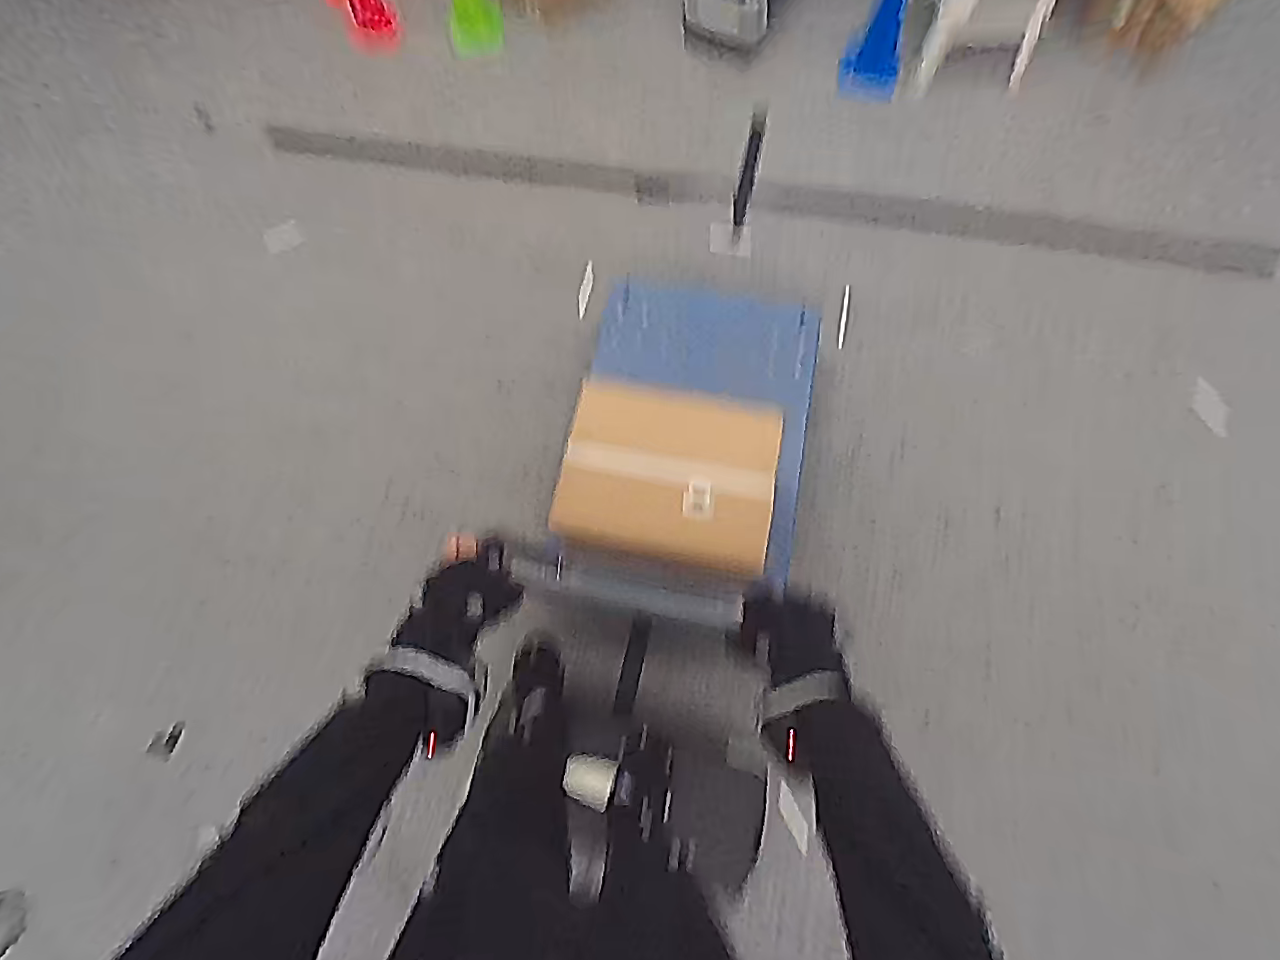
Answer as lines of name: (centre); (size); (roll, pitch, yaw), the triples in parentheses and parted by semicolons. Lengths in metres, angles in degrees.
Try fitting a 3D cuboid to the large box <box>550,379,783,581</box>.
large box: (0.056, 0.016, 1.160); (0.408, 0.320, 0.320); (11, 76, 5)
